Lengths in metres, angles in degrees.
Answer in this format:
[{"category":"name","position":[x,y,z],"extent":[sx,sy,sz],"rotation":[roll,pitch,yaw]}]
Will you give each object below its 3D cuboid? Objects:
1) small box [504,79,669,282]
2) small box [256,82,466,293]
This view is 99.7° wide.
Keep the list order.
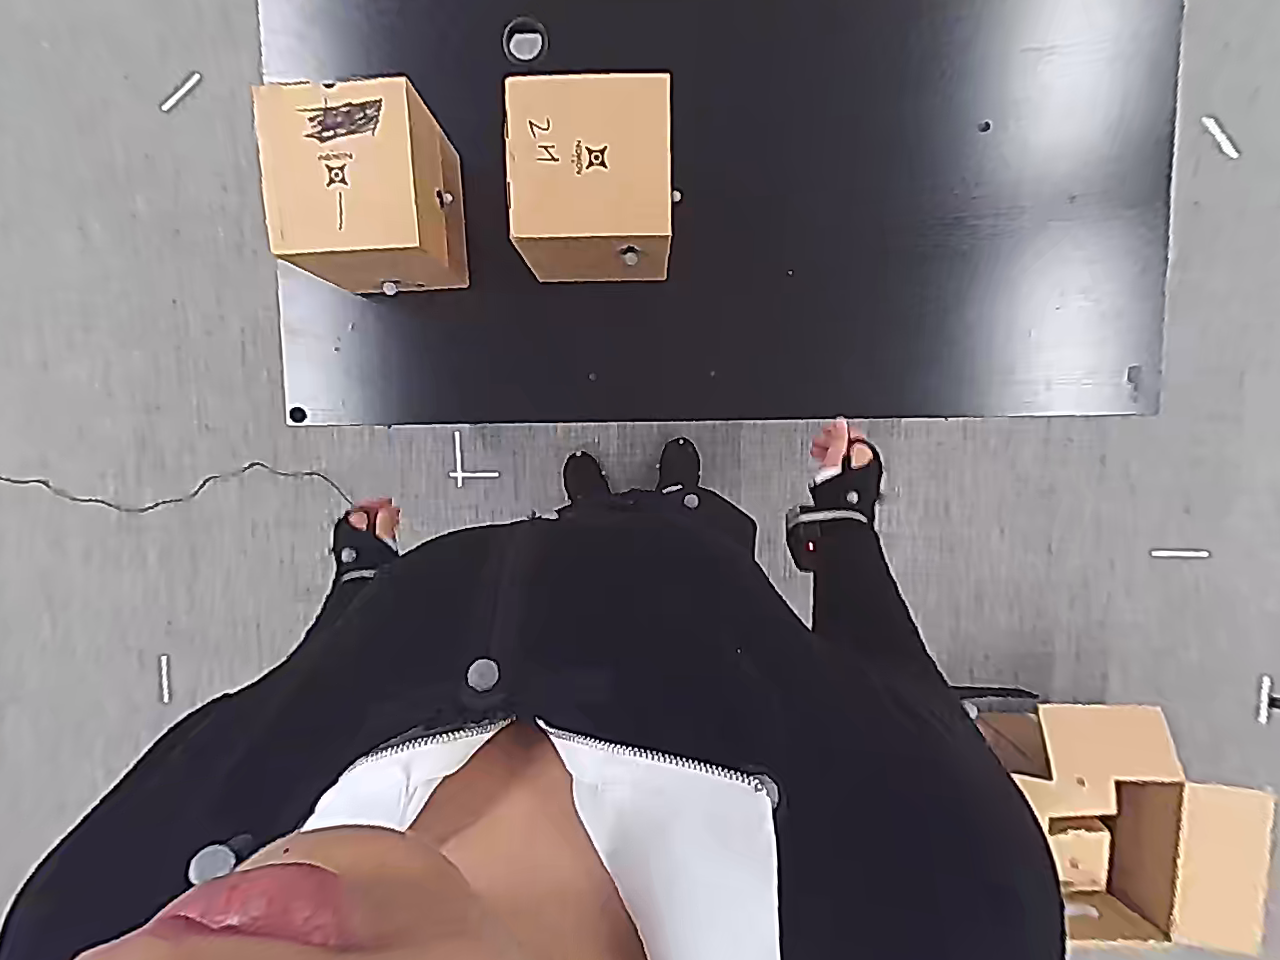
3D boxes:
[{"category":"small box","position":[-0.057,-0.347,0.657],"extent":[0.179,0.176,0.168],"rotation":[-1,95,1]},{"category":"small box","position":[-0.324,-0.341,0.660],"extent":[0.168,0.176,0.179],"rotation":[-3,96,1]}]
